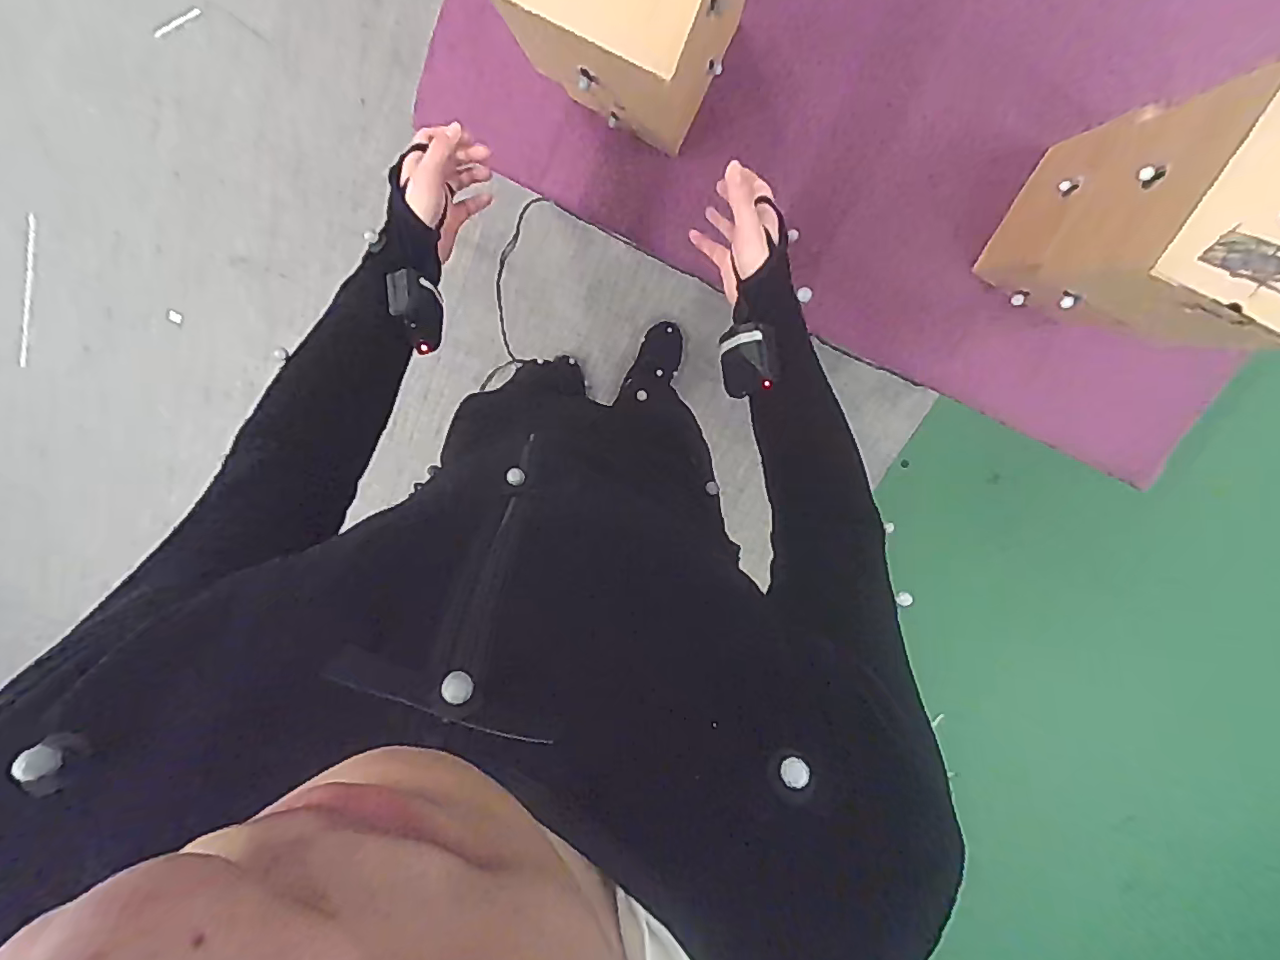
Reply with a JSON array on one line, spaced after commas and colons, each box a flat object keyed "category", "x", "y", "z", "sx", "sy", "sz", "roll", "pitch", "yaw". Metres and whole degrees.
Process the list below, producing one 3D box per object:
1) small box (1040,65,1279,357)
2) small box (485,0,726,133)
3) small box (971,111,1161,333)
[{"category": "small box", "x": 0.540, "y": -0.236, "z": 0.520, "sx": 0.168, "sy": 0.176, "sz": 0.179, "roll": 25, "pitch": 106, "yaw": -3}, {"category": "small box", "x": -0.012, "y": -0.452, "z": 0.485, "sx": 0.168, "sy": 0.176, "sz": 0.179, "roll": 24, "pitch": 109, "yaw": -5}, {"category": "small box", "x": 0.561, "y": -0.301, "z": 0.670, "sx": 0.168, "sy": 0.176, "sz": 0.179, "roll": 27, "pitch": 108, "yaw": -4}]
